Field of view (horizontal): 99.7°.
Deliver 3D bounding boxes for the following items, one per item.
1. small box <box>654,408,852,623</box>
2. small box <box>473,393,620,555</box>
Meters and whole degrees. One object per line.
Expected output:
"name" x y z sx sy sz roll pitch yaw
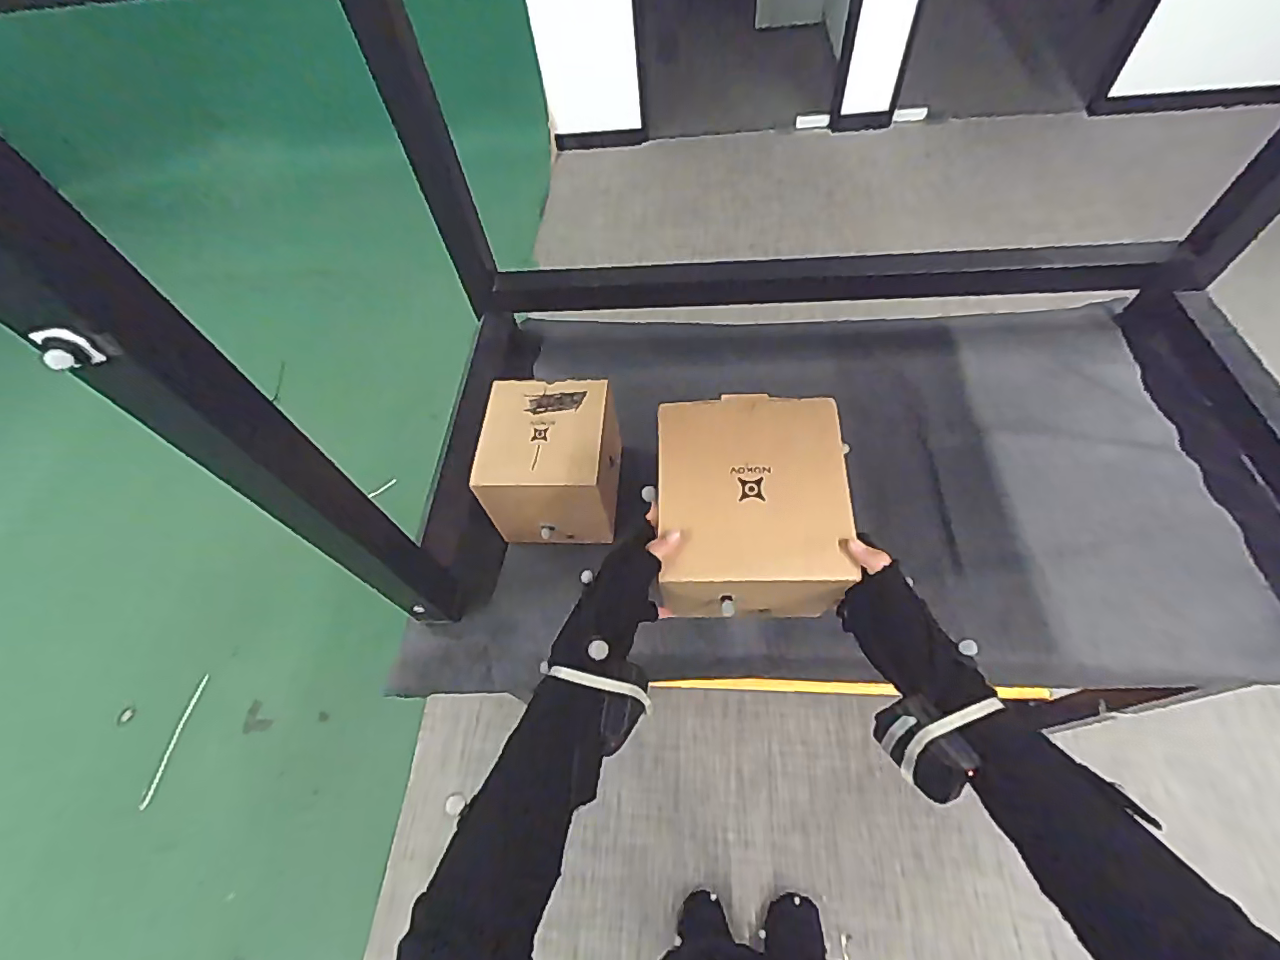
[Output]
"small box" 0.104 0.047 0.555 0.168 0.176 0.179 -2 63 5
"small box" -0.122 -0.007 0.791 0.168 0.176 0.179 0 57 6
